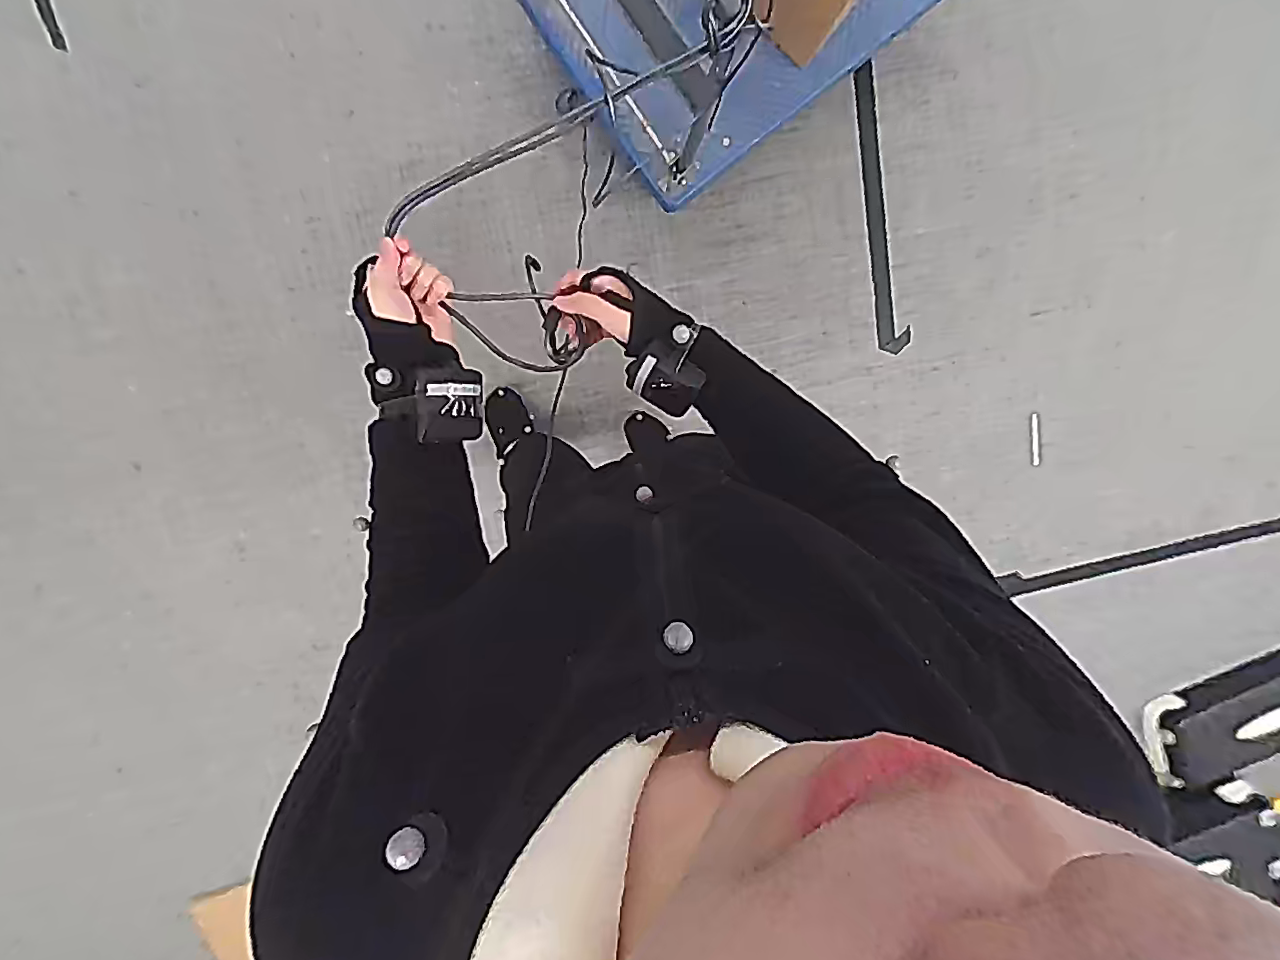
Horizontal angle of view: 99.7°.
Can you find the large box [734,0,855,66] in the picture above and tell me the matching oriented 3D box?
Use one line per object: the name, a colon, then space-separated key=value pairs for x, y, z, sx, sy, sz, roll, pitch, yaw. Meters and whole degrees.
large box: x=0.303 y=-1.100 z=0.980 sx=0.408 sy=0.320 sz=0.320 roll=37 pitch=96 yaw=-11
